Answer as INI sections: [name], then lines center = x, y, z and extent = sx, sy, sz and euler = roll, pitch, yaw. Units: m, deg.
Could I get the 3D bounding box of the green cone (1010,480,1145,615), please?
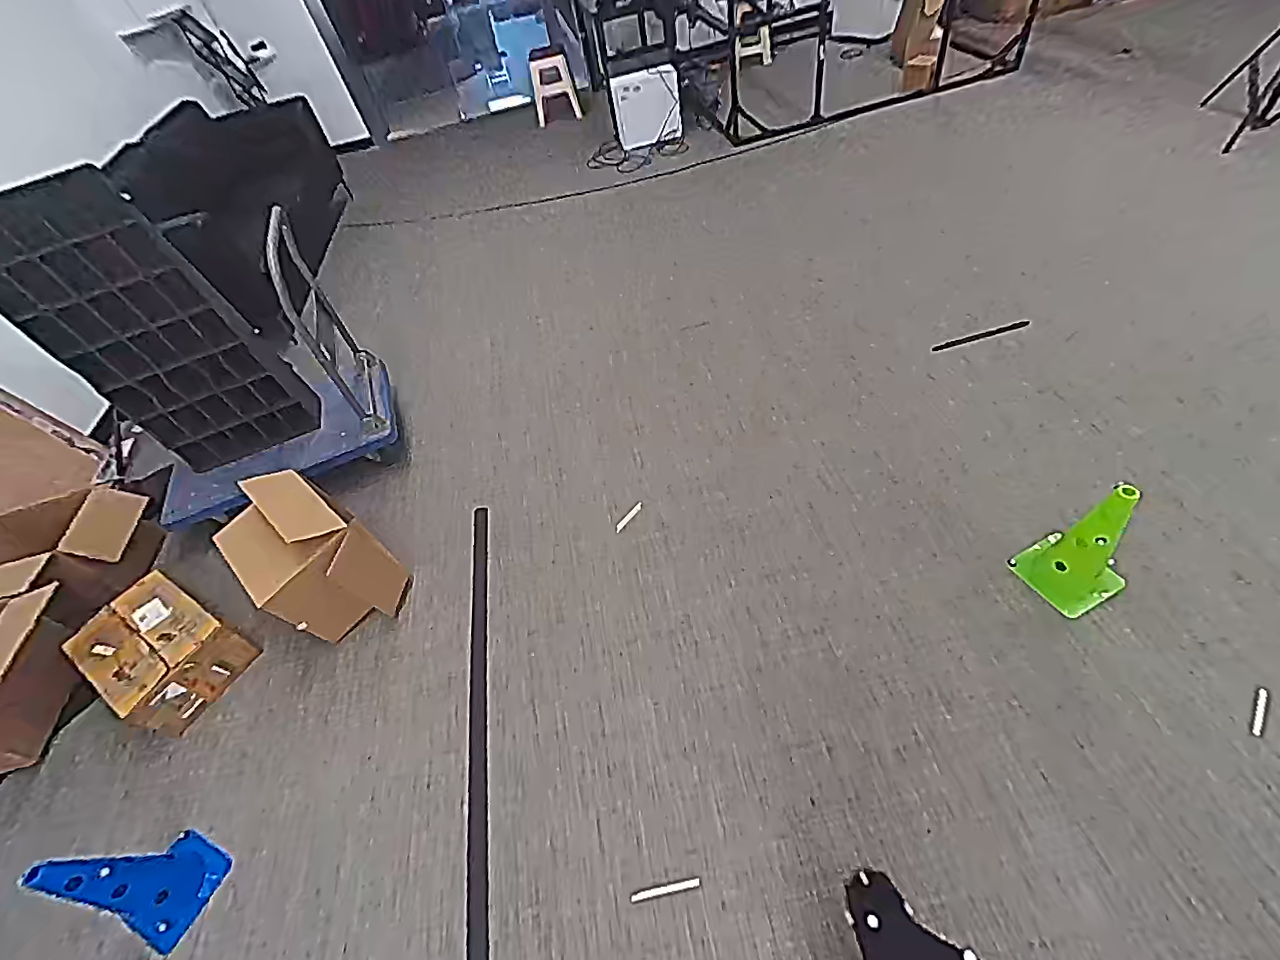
[green cone]
center = 1.105, 0.133, 1.309
extent = 0.202, 0.368, 0.200
euler = -26, 50, -11
